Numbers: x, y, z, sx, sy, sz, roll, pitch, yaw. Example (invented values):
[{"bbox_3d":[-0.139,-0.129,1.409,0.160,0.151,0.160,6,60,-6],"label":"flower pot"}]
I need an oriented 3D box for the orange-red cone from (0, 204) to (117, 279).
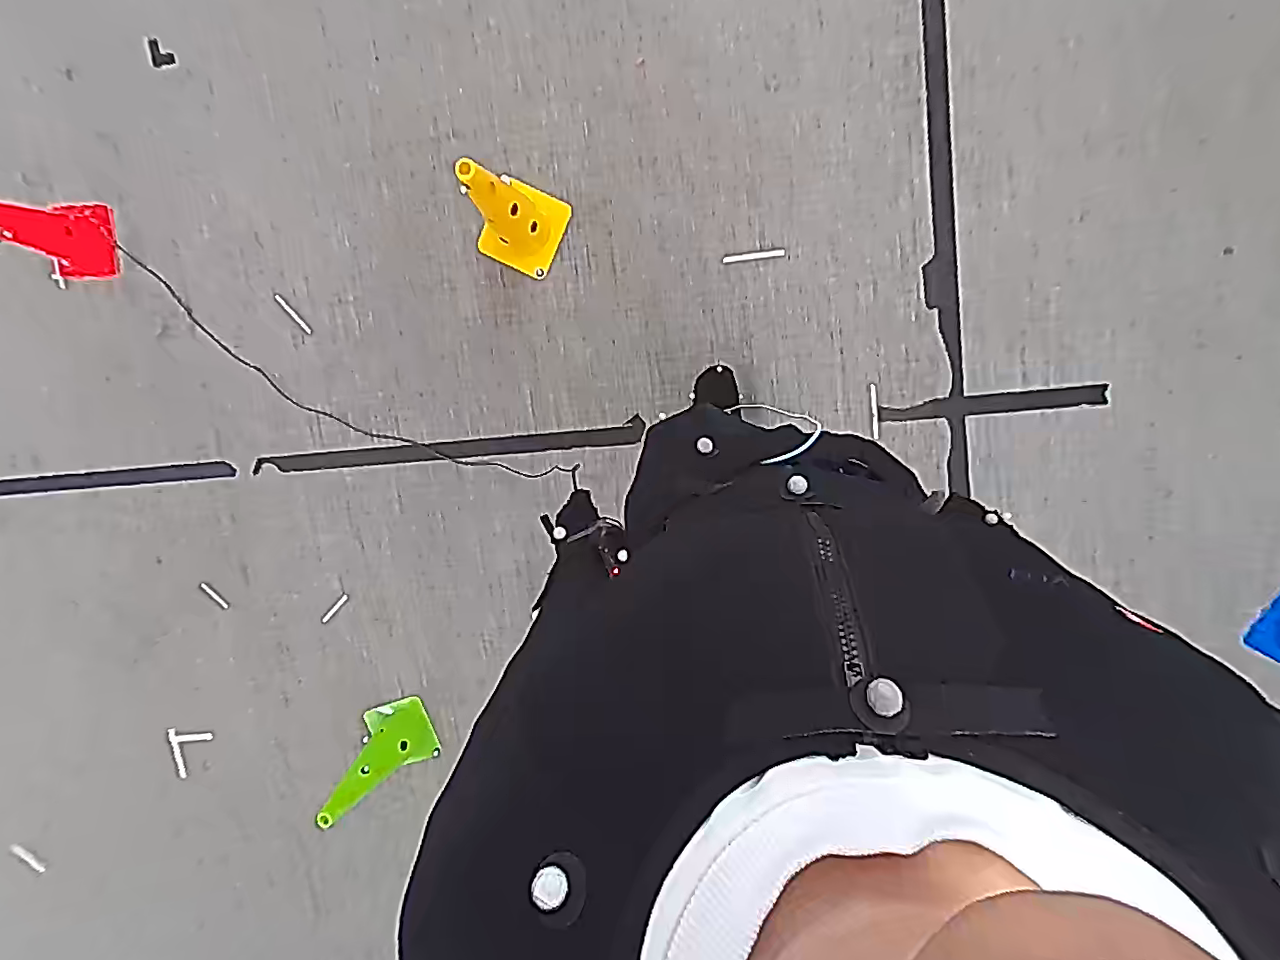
[{"bbox_3d":[-1.607,-0.653,1.376,0.199,0.360,0.198,2,99,5],"label":"orange-red cone"}]

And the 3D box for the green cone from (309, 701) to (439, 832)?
[{"bbox_3d":[-0.750,0.799,1.472,0.202,0.368,0.200,-21,94,10],"label":"green cone"}]
